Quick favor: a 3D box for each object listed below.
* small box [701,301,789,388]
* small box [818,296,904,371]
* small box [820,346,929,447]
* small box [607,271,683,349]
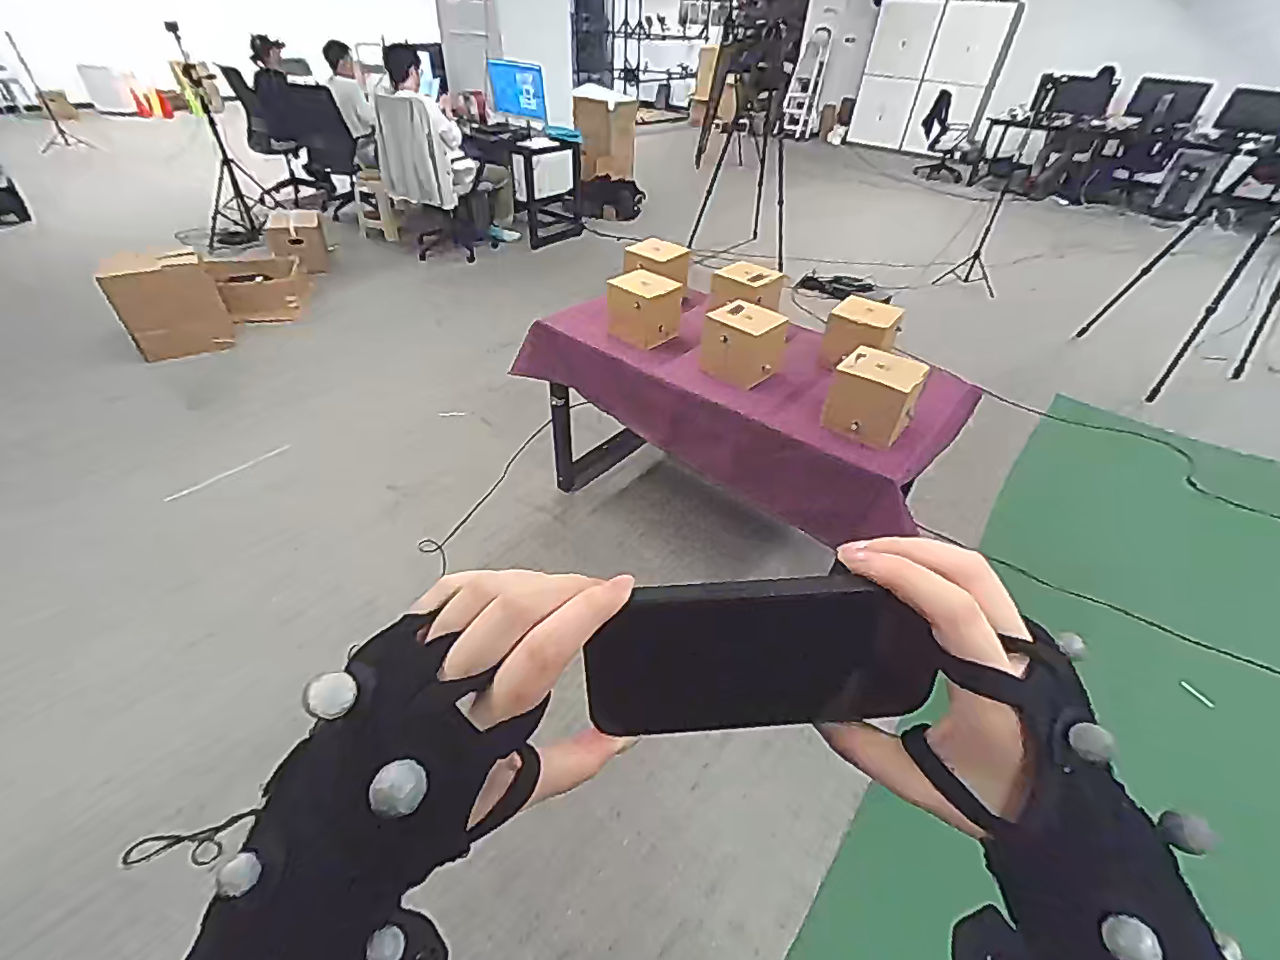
[{"bbox_3d":[0.291,-0.384,1.537,0.179,0.176,0.168,33,49,29],"label":"small box"},{"bbox_3d":[0.649,-0.420,1.600,0.168,0.176,0.179,27,46,26],"label":"small box"},{"bbox_3d":[0.576,-0.203,1.342,0.179,0.176,0.168,29,46,27],"label":"small box"},{"bbox_3d":[0.011,-0.532,1.694,0.179,0.176,0.168,32,48,28],"label":"small box"}]
